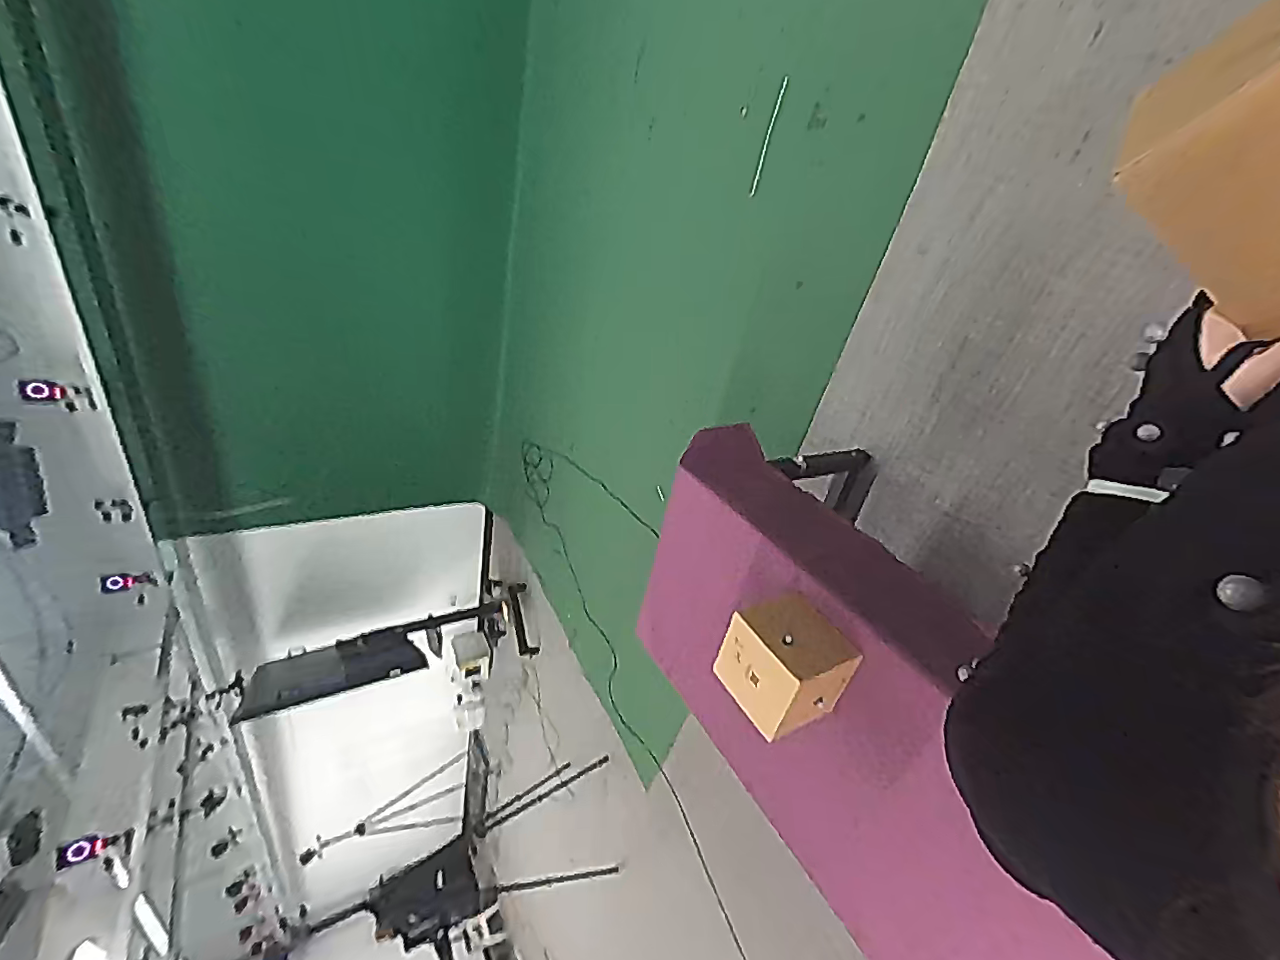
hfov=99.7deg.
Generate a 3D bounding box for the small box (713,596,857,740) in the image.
[{"bbox_3d":[0.273,0.344,1.025,0.179,0.176,0.168,47,133,43],"label":"small box"}]

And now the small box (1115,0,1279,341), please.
[{"bbox_3d":[0.453,-0.229,0.337,0.168,0.176,0.179,44,149,-7],"label":"small box"}]
